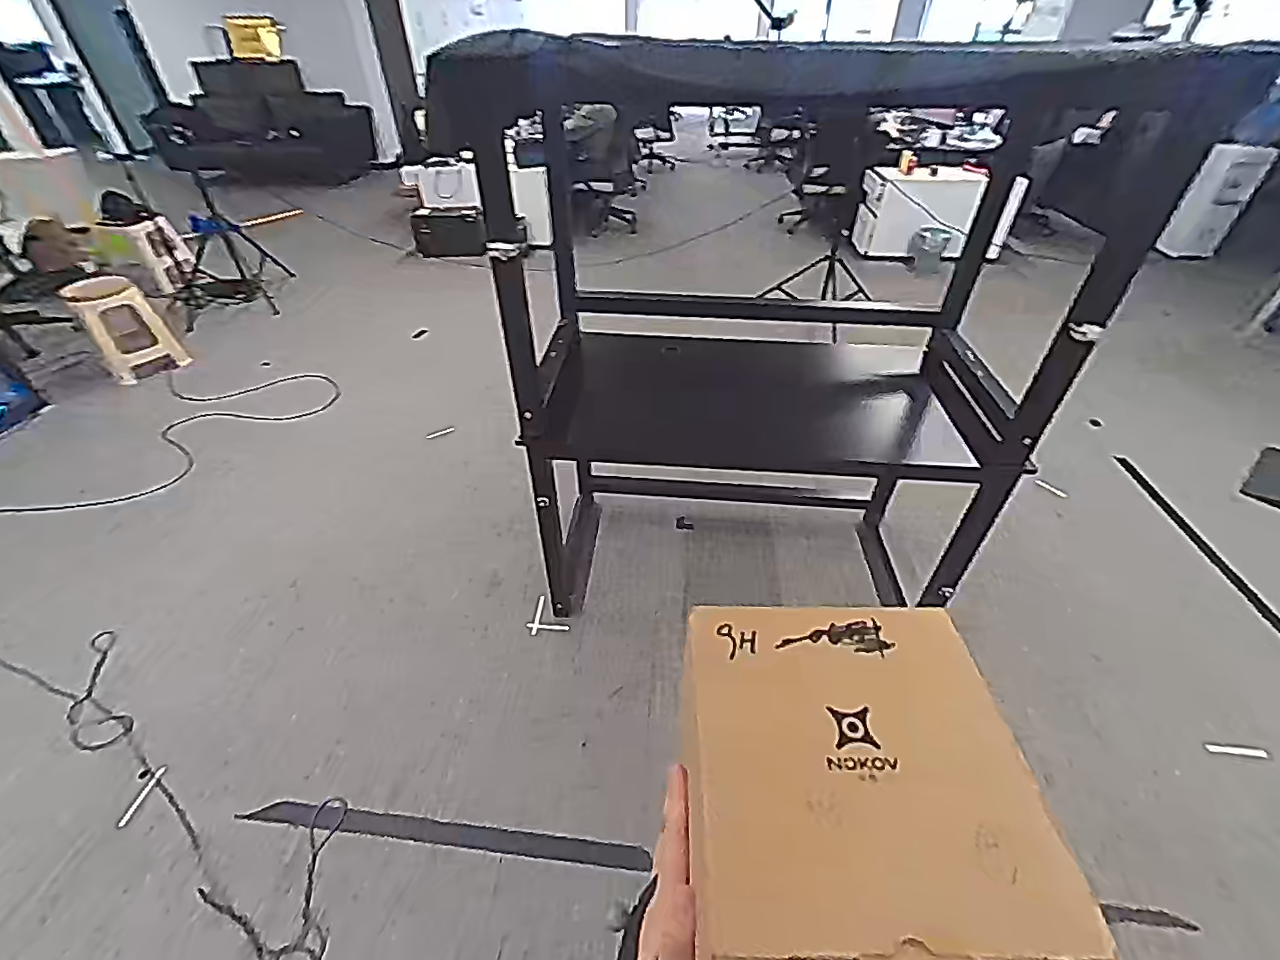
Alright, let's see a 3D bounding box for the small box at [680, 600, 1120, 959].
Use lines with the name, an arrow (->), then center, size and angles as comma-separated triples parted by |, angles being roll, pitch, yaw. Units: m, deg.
small box -> 0.112, 0.195, 0.328 | 0.168, 0.176, 0.179 | 1, 41, 1
